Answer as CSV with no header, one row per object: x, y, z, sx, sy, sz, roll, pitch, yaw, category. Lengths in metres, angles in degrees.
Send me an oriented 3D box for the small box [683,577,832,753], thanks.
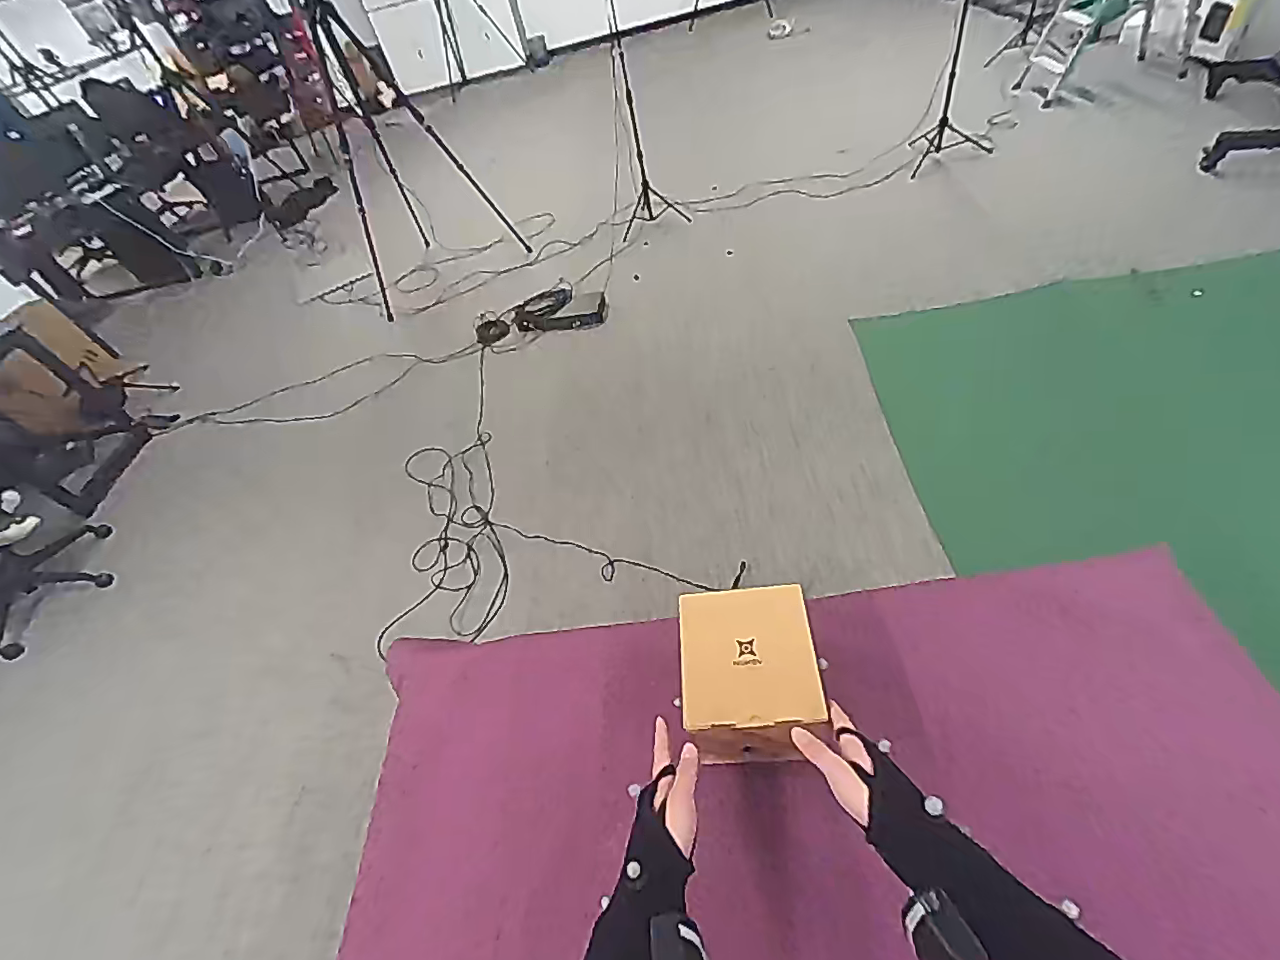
0.150,0.252,0.730,0.168,0.176,0.179,-7,51,8,small box
